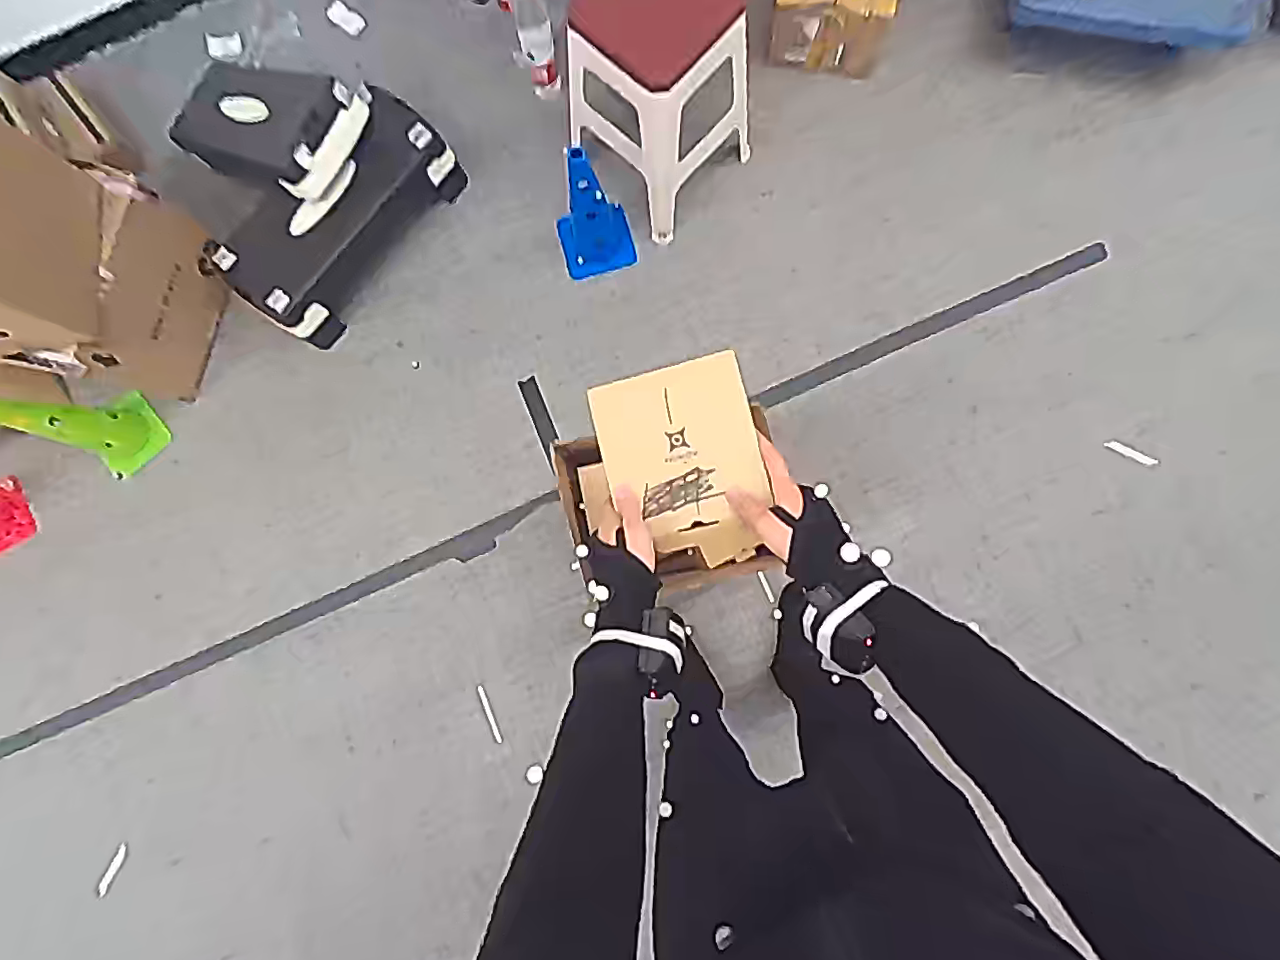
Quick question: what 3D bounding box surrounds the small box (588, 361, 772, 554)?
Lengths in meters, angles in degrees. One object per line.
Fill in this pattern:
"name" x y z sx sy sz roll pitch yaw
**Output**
"small box" 0.053 -0.019 0.651 0.168 0.176 0.179 -15 84 7
